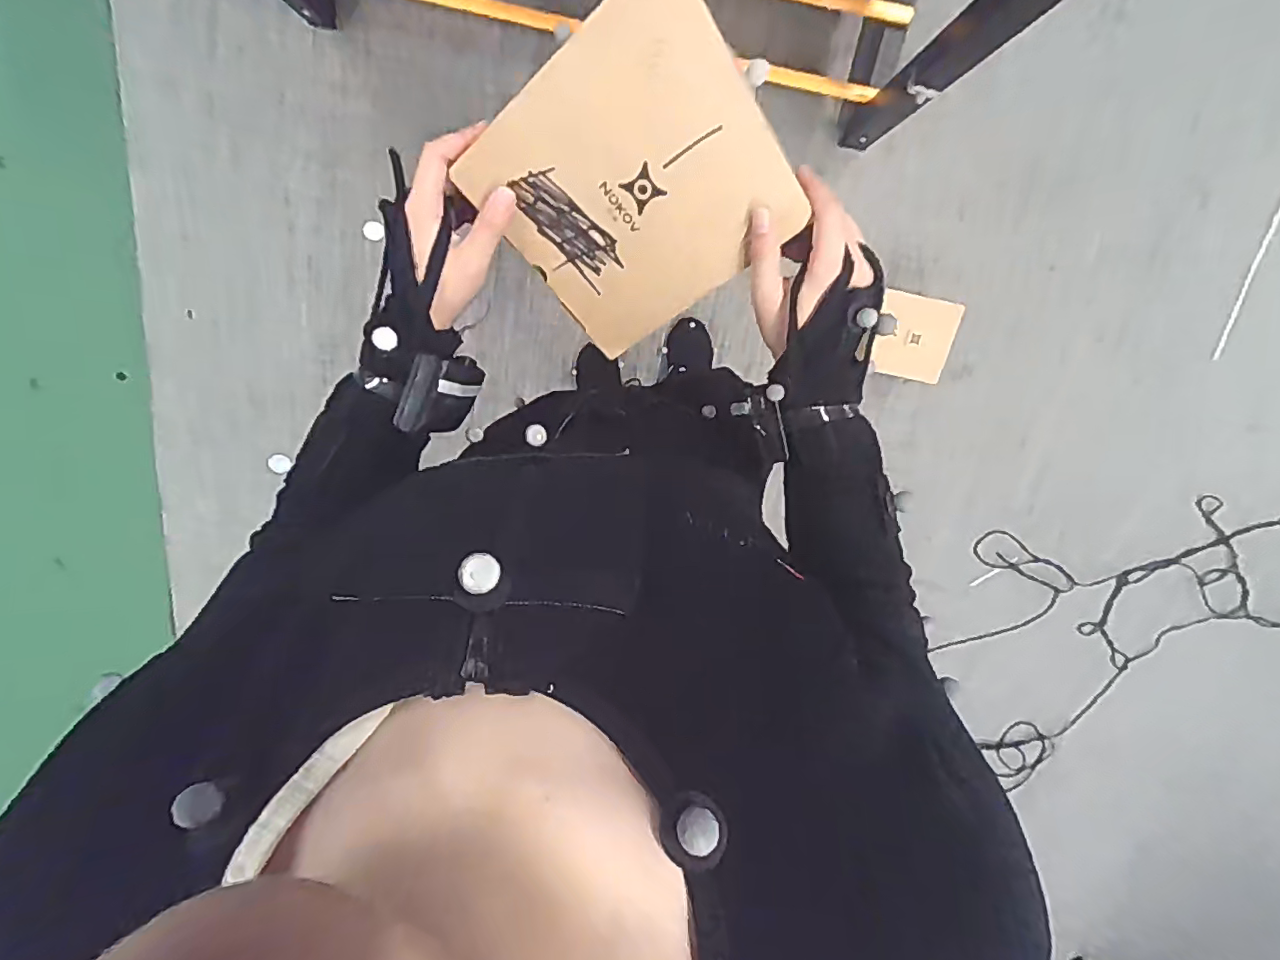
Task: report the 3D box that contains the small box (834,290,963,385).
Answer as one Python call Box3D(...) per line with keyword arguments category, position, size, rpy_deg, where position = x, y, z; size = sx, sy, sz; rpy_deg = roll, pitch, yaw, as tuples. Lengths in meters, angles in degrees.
Box3D(category="small box", position=(0.559, -0.317, 1.195), size=(0.179, 0.176, 0.168), rpy_deg=(11, 106, -3))
